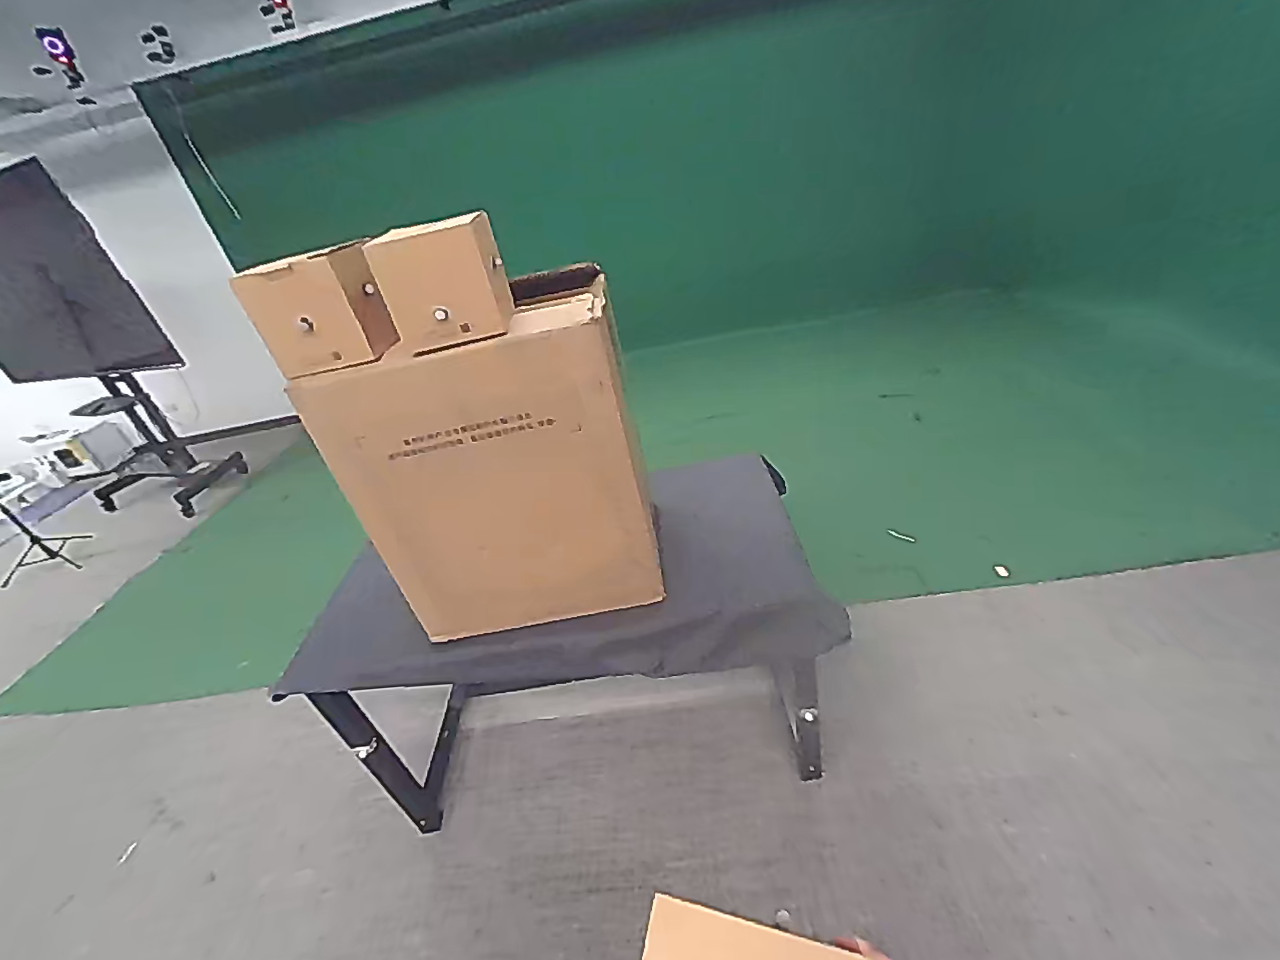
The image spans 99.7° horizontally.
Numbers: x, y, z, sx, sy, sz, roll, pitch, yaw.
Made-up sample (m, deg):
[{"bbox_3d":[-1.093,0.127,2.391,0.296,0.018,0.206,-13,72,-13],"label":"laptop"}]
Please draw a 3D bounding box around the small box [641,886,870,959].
[{"bbox_3d":[0.085,0.449,0.418,0.168,0.176,0.179,3,50,18],"label":"small box"}]

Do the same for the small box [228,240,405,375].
[{"bbox_3d":[-0.531,-0.290,0.923,0.168,0.176,0.179,-11,32,5],"label":"small box"}]
